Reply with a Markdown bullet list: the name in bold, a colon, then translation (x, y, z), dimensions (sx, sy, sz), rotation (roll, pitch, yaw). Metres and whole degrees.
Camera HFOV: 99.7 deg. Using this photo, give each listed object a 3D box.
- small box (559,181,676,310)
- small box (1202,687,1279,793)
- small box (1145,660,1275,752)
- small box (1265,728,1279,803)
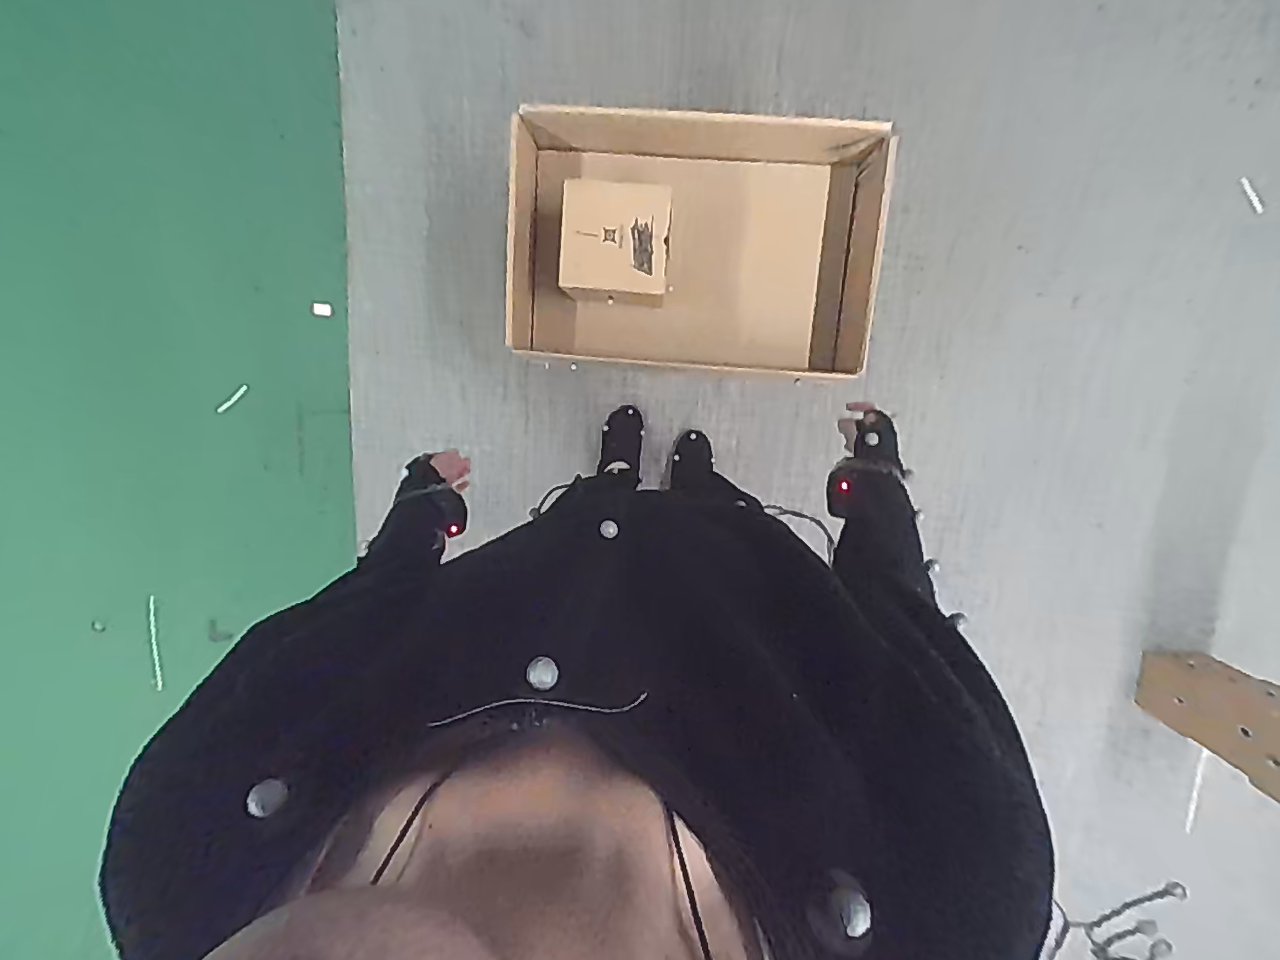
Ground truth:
- **small box**: translation (-0.034, -0.395, 0.941), dimensions (0.179, 0.176, 0.168), rotation (6, 99, 2)
- **small box**: translation (1.504, 0.614, 1.283), dimensions (0.168, 0.176, 0.179), rotation (3, 99, 4)
- **small box**: translation (1.513, 0.600, 1.446), dimensions (0.168, 0.176, 0.179), rotation (2, 99, 3)
- **small box**: translation (1.480, 0.642, 1.123), dimensions (0.168, 0.176, 0.179), rotation (1, 99, 3)
